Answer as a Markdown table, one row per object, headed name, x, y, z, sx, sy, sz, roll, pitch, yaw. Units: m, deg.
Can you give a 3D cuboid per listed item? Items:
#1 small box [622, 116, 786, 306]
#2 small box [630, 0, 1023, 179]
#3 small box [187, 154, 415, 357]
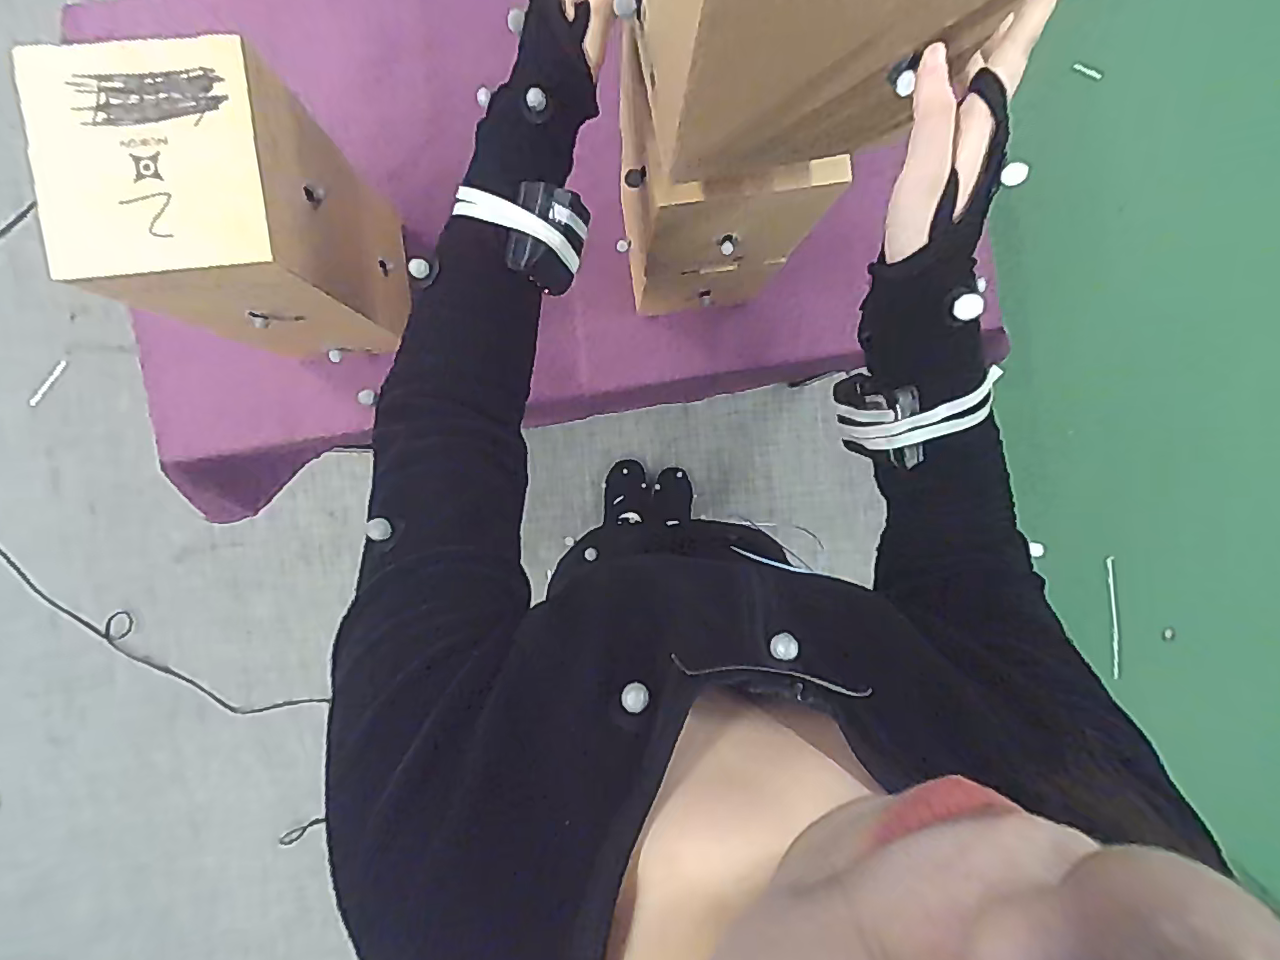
| name | x | y | z | sx | sy | sz | roll | pitch | yaw |
| --- | --- | --- | --- | --- | --- | --- | --- | --- | --- |
| small box | 0.070 | -0.328 | 0.683 | 0.168 | 0.176 | 0.179 | -8 | 94 | -4 |
| small box | 0.093 | -0.307 | 0.312 | 0.179 | 0.176 | 0.168 | -12 | 92 | -3 |
| small box | -0.390 | -0.257 | 0.655 | 0.168 | 0.176 | 0.179 | -7 | 94 | -4 |
